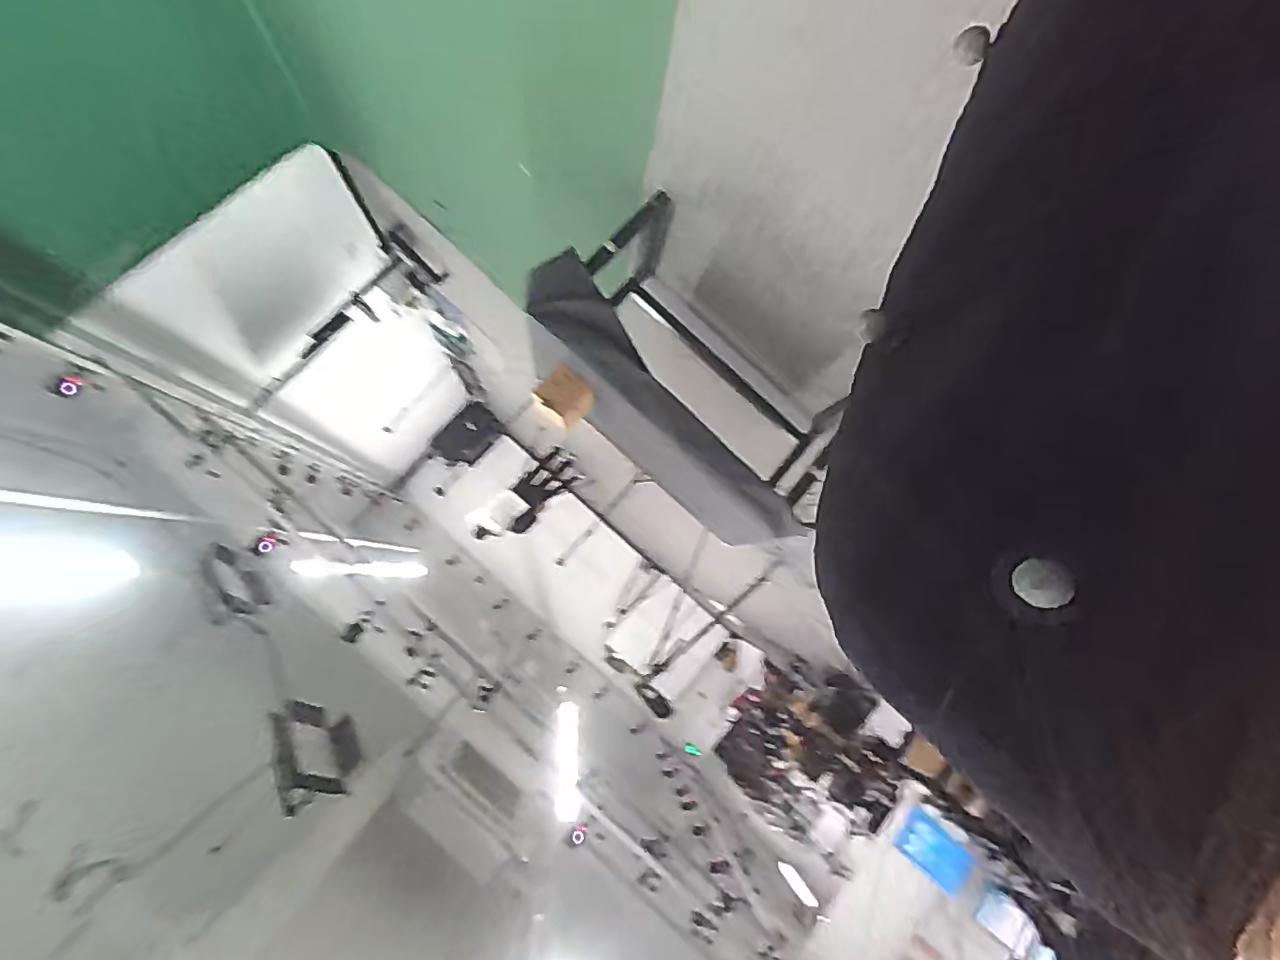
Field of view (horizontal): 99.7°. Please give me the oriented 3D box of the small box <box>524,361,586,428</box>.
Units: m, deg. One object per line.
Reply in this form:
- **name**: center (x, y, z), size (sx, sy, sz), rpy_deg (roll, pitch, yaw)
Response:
- **small box**: center (-0.330, -0.339, 2.136), size (0.168, 0.176, 0.179), rpy_deg (42, 169, 7)
